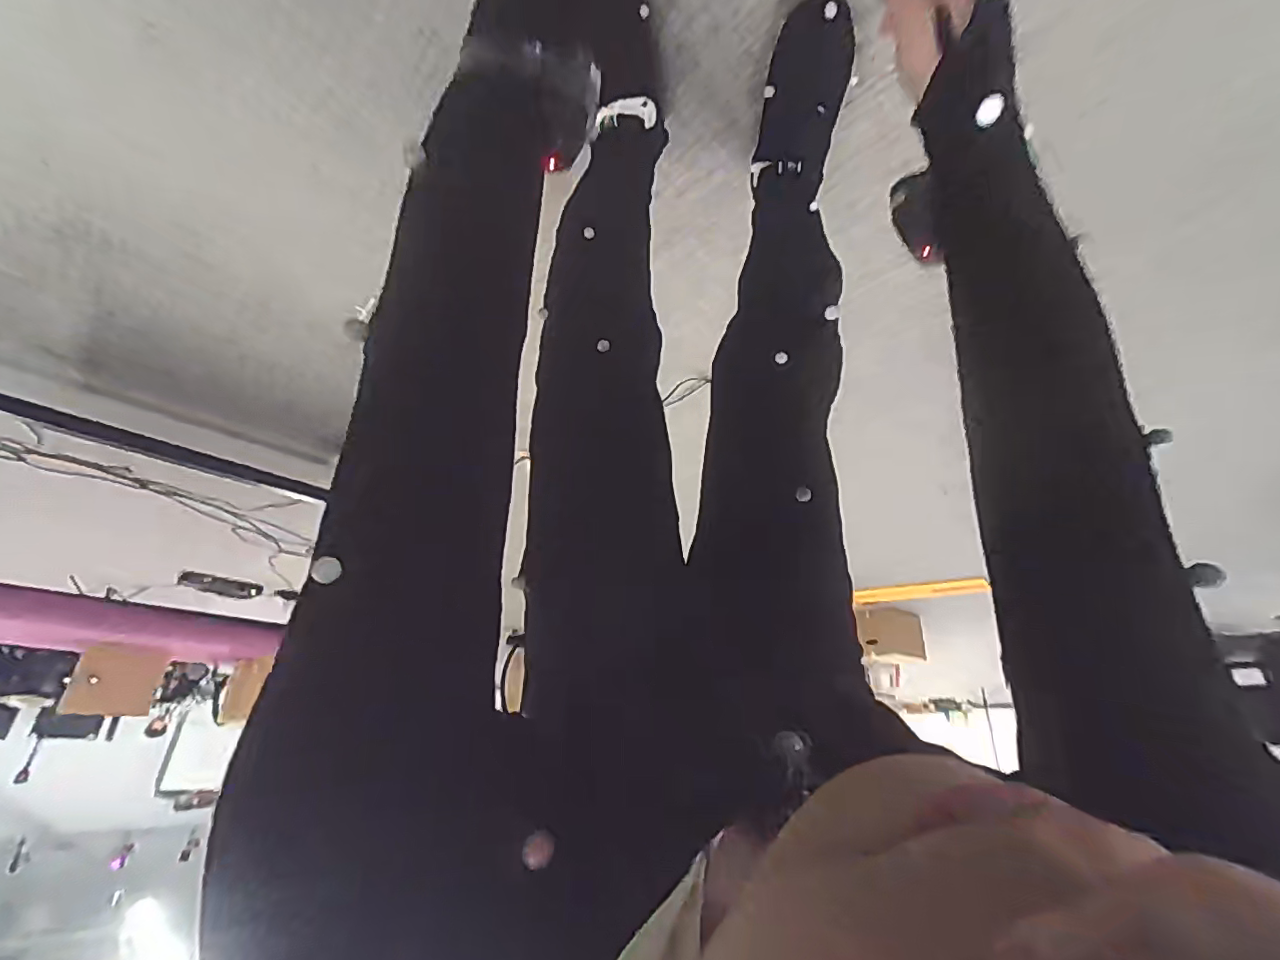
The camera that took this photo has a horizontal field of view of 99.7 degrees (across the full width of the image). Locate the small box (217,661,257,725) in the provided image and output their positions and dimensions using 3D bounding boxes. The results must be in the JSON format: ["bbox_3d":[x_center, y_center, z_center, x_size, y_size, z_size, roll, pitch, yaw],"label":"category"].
[{"bbox_3d":[-1.122,0.641,1.617,0.179,0.176,0.168,23,147,-35],"label":"small box"}]

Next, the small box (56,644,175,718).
[{"bbox_3d":[-1.366,0.526,1.413,0.179,0.176,0.168,24,148,-37],"label":"small box"}]

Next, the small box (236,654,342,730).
[{"bbox_3d":[-0.920,0.559,1.426,0.179,0.176,0.168,26,148,-38],"label":"small box"}]
